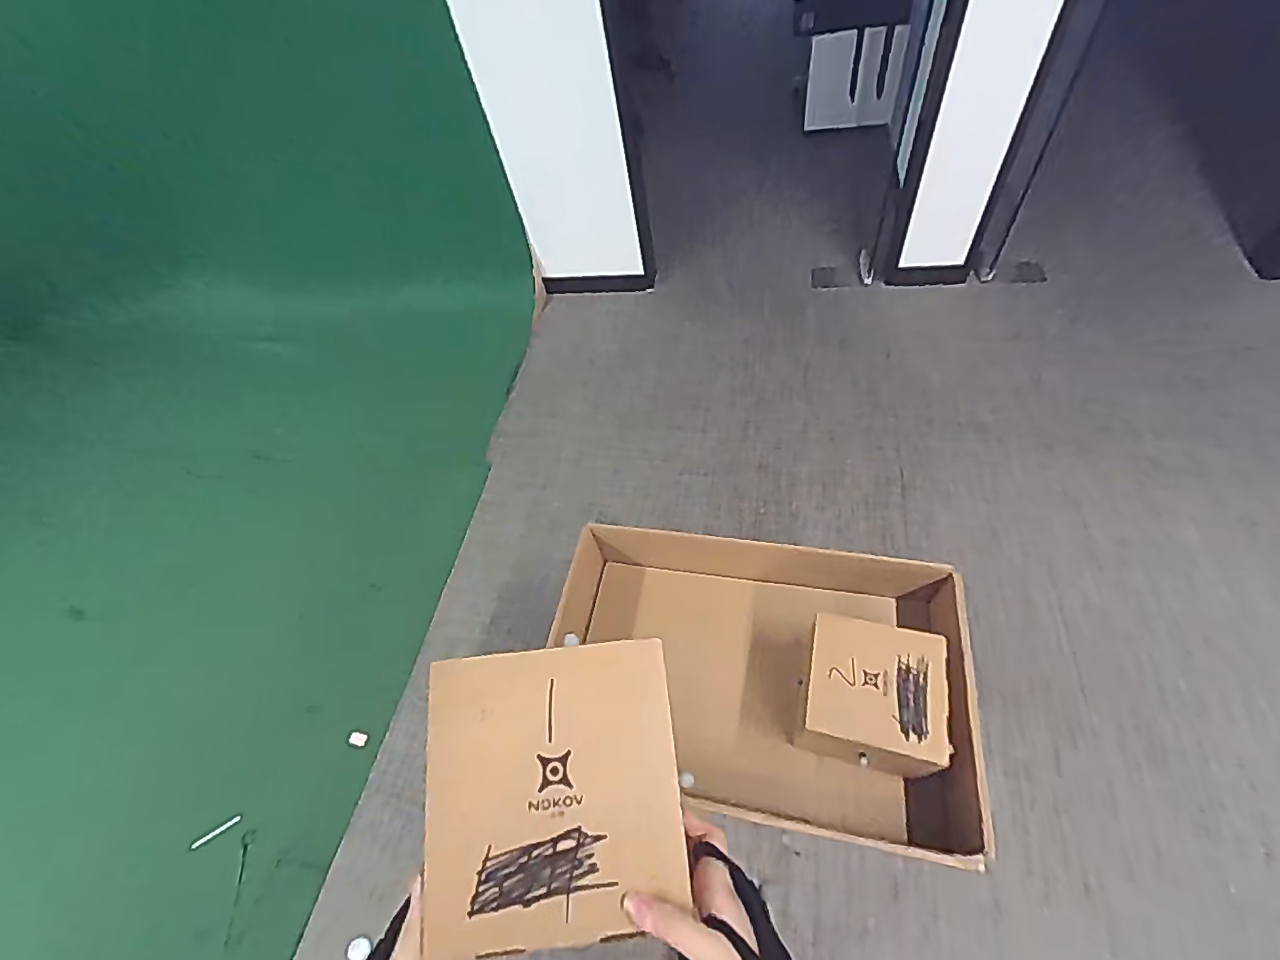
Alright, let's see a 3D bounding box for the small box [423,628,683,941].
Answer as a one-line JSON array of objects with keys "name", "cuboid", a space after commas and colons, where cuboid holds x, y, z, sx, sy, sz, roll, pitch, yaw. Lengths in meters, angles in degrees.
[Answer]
[{"name": "small box", "cuboid": [-0.060, 0.222, 0.436, 0.168, 0.176, 0.179, -5, 69, -3]}]
